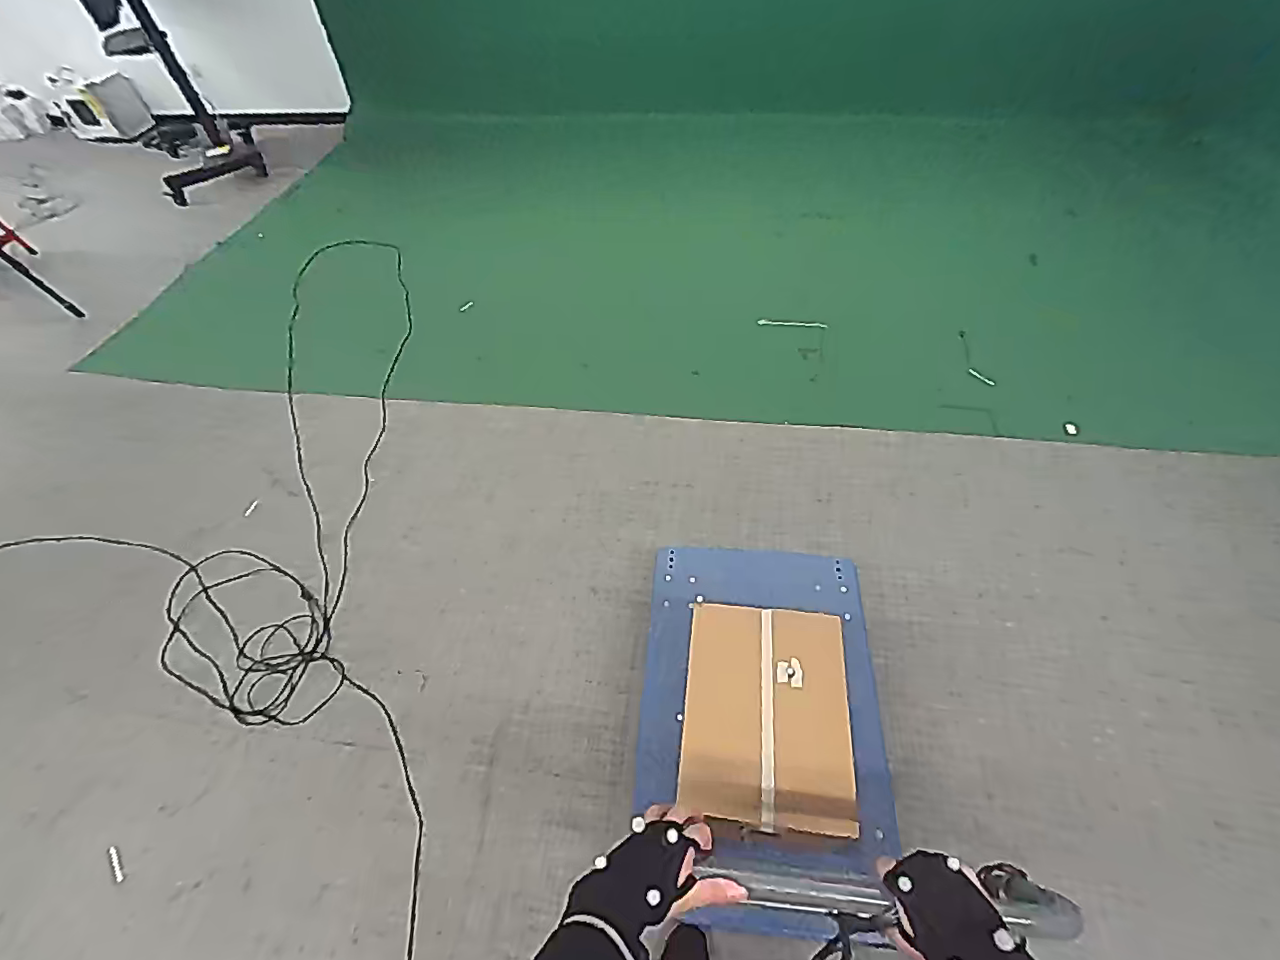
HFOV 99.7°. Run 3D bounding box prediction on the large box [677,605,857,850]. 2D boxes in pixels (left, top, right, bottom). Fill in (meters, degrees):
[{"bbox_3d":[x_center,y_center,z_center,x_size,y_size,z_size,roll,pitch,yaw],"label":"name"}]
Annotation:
[{"bbox_3d":[0.252,0.533,1.172,0.320,0.320,0.408,4,52,7],"label":"large box"}]
